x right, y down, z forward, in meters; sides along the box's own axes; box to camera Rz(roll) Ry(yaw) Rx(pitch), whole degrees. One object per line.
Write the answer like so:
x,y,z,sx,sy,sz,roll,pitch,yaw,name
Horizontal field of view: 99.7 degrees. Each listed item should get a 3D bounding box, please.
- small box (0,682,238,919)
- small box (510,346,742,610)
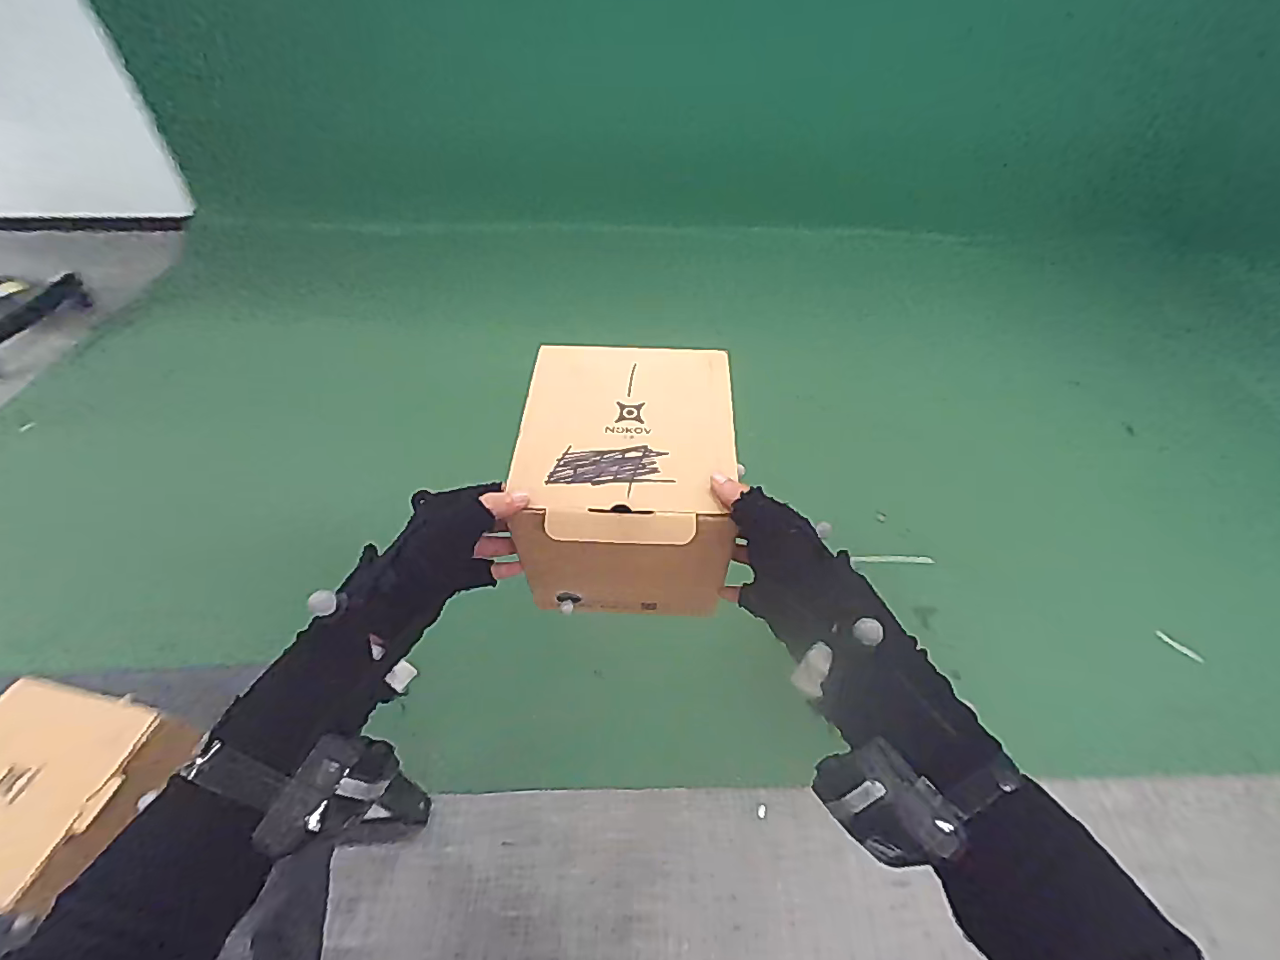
-0.587,0.339,0.569,0.179,0.176,0.168,7,47,8,small box
-0.003,0.003,0.484,0.168,0.176,0.179,3,53,2,small box
